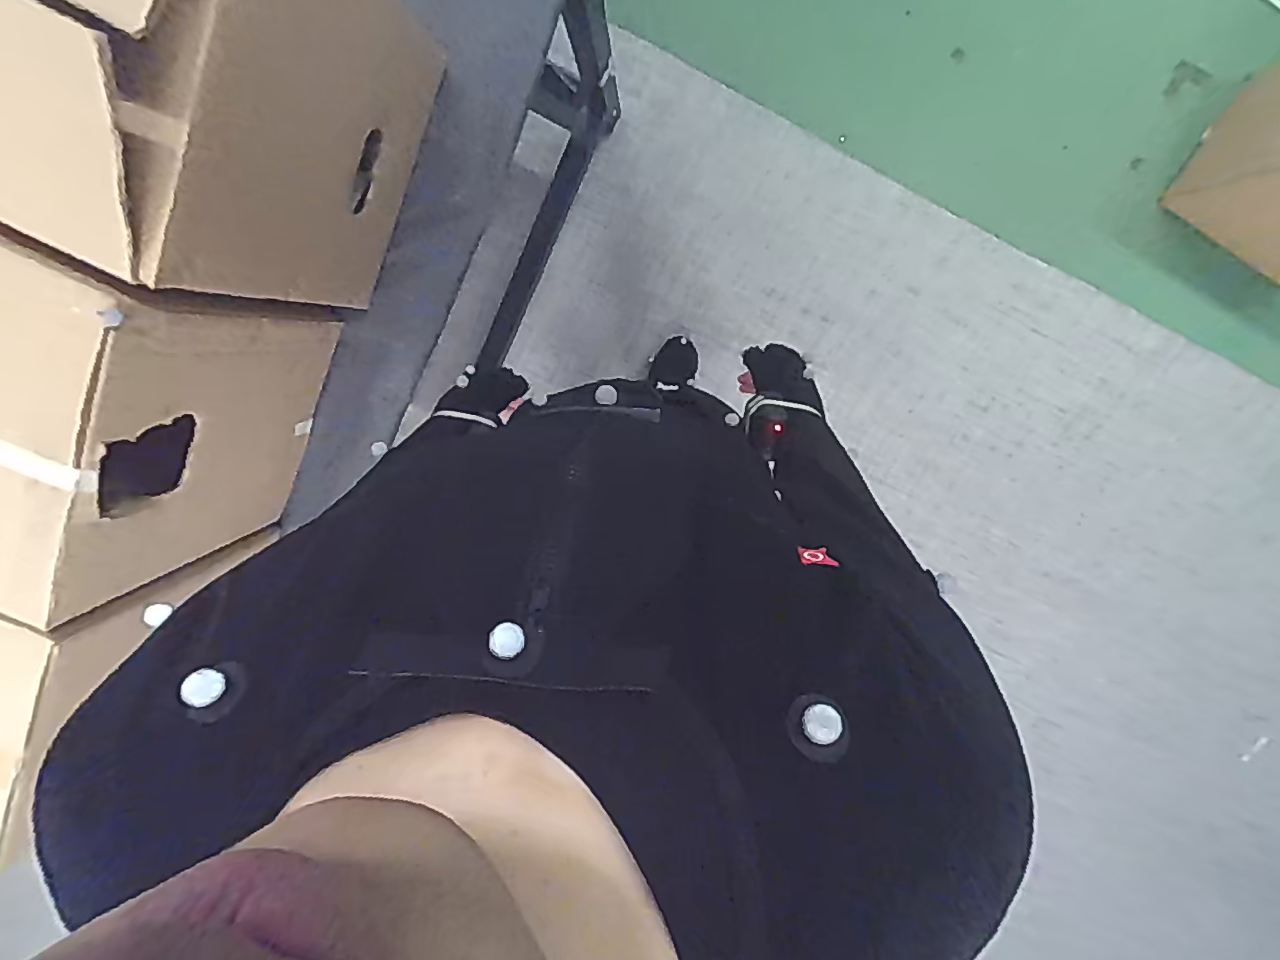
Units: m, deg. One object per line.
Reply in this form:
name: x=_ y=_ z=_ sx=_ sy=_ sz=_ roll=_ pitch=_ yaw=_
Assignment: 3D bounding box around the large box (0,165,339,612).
large box: x=-0.629 y=-0.130 z=0.570 sx=0.408 sy=0.320 sz=0.320 roll=25 pitch=104 yaw=-6
